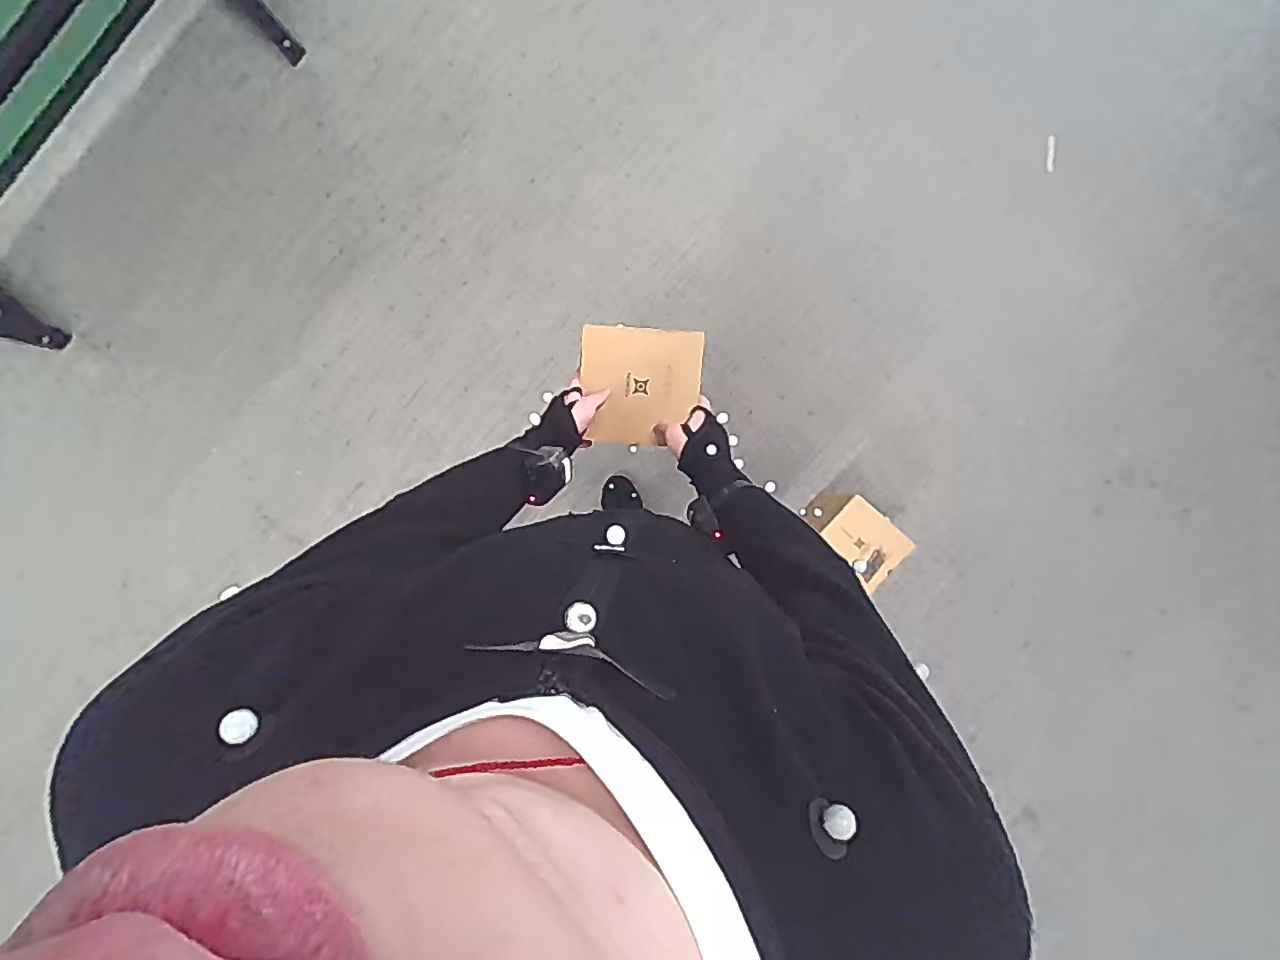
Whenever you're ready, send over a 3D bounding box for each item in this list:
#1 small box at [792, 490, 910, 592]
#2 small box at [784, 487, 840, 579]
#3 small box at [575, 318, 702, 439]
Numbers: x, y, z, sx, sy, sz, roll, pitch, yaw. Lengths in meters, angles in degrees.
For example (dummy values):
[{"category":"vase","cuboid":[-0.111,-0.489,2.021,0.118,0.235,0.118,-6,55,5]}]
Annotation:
[{"category":"small box","cuboid":[0.494,0.135,1.294,0.179,0.176,0.168,43,92,2]},{"category":"small box","cuboid":[0.509,0.136,1.459,0.168,0.176,0.179,44,93,1]},{"category":"small box","cuboid":[0.003,-0.153,0.849,0.179,0.176,0.168,3,97,4]}]
